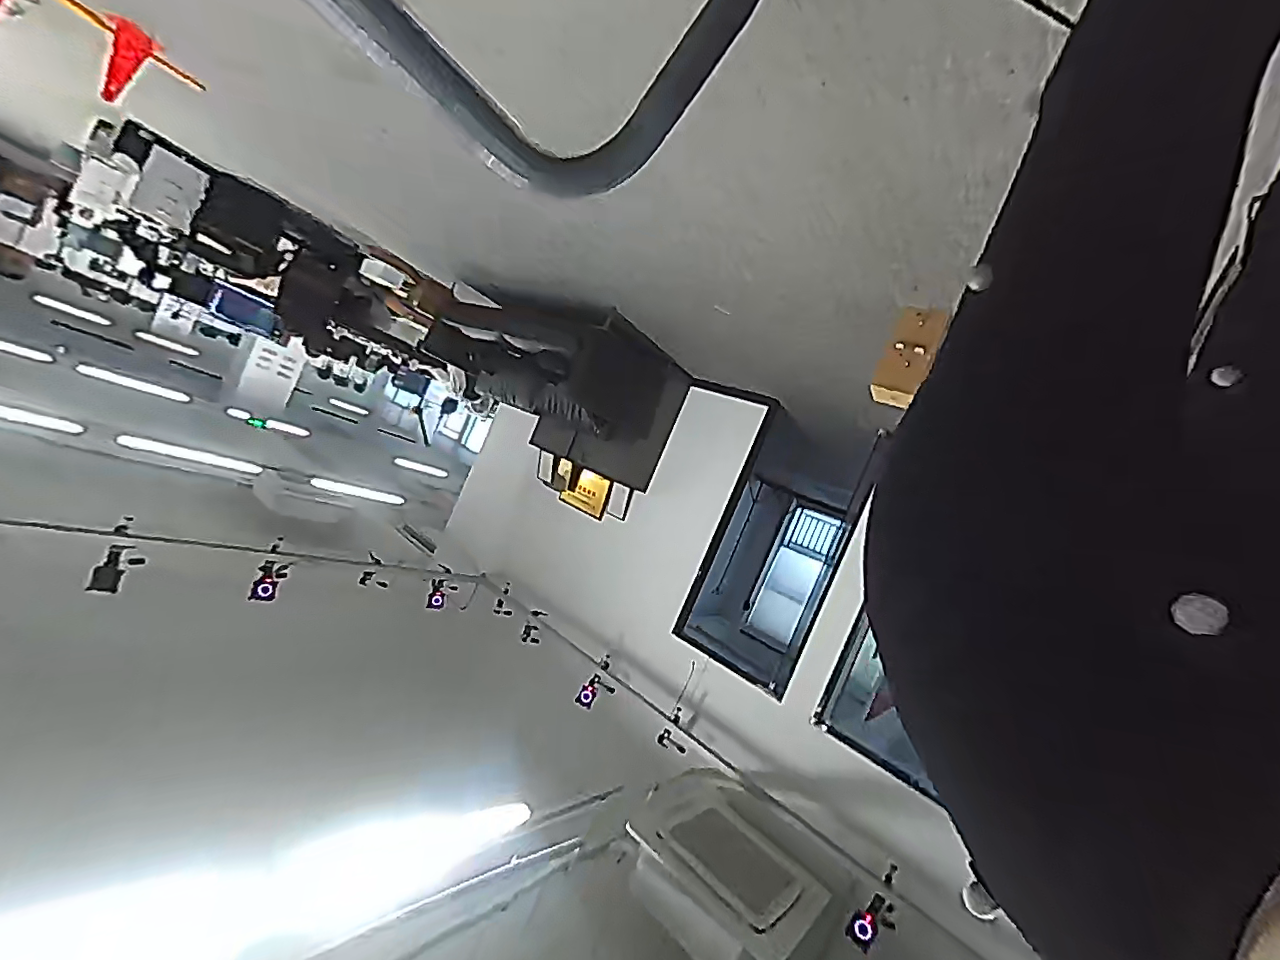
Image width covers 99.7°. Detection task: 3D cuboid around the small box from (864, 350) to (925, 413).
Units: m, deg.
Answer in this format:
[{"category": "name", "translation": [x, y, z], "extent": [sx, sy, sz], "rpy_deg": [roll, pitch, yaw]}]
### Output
[{"category": "small box", "translation": [0.999, -0.386, 2.114], "extent": [0.168, 0.176, 0.179], "rpy_deg": [24, 179, 29]}]

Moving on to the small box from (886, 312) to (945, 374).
[{"category": "small box", "translation": [1.069, -0.531, 2.109], "extent": [0.168, 0.176, 0.179], "rpy_deg": [21, 178, 24]}]
